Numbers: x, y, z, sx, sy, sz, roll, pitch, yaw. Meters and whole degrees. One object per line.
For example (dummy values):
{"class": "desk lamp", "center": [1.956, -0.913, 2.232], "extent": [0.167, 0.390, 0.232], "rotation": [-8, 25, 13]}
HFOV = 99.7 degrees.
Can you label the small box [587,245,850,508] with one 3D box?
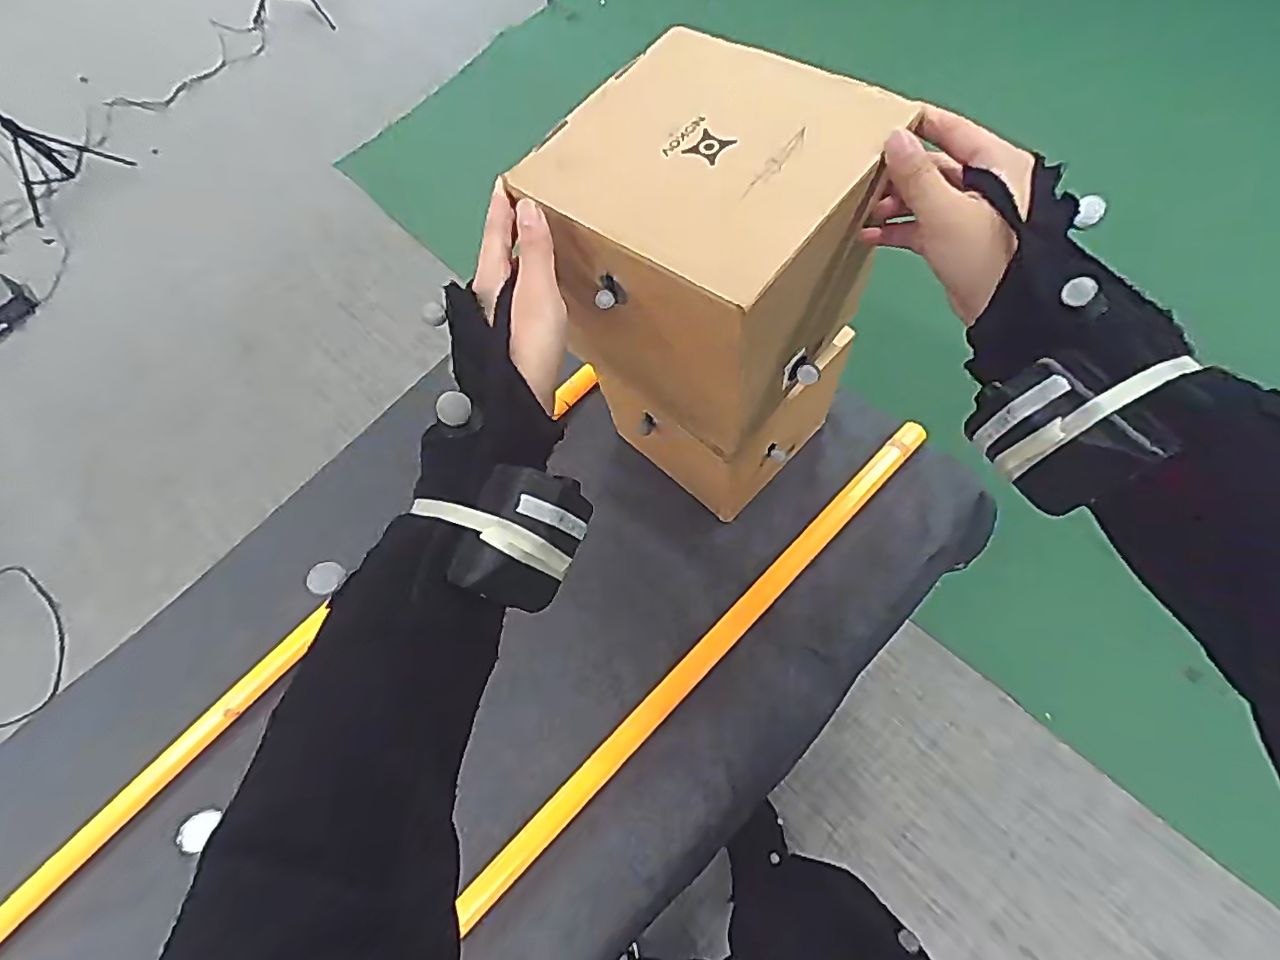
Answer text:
{"class": "small box", "center": [0.079, -0.091, 0.553], "extent": [0.168, 0.176, 0.179], "rotation": [-45, 67, -9]}
